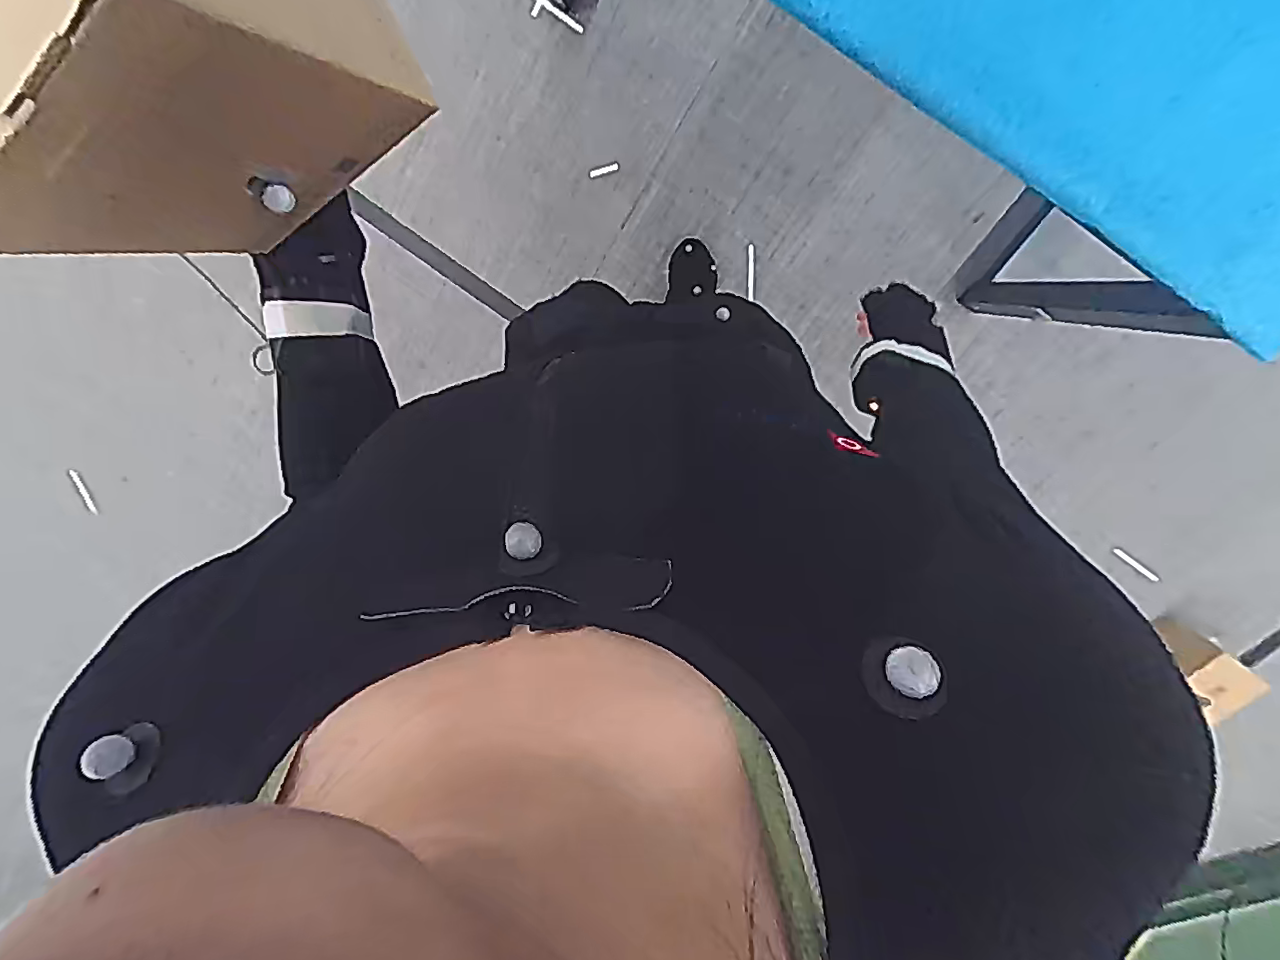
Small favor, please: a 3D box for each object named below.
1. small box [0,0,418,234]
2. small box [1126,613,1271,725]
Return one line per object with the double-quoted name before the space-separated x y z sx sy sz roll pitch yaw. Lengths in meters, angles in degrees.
"small box" -0.243 -0.224 0.238 0.168 0.176 0.179 -17 110 23
"small box" 1.441 0.490 1.417 0.168 0.176 0.179 36 110 -6
